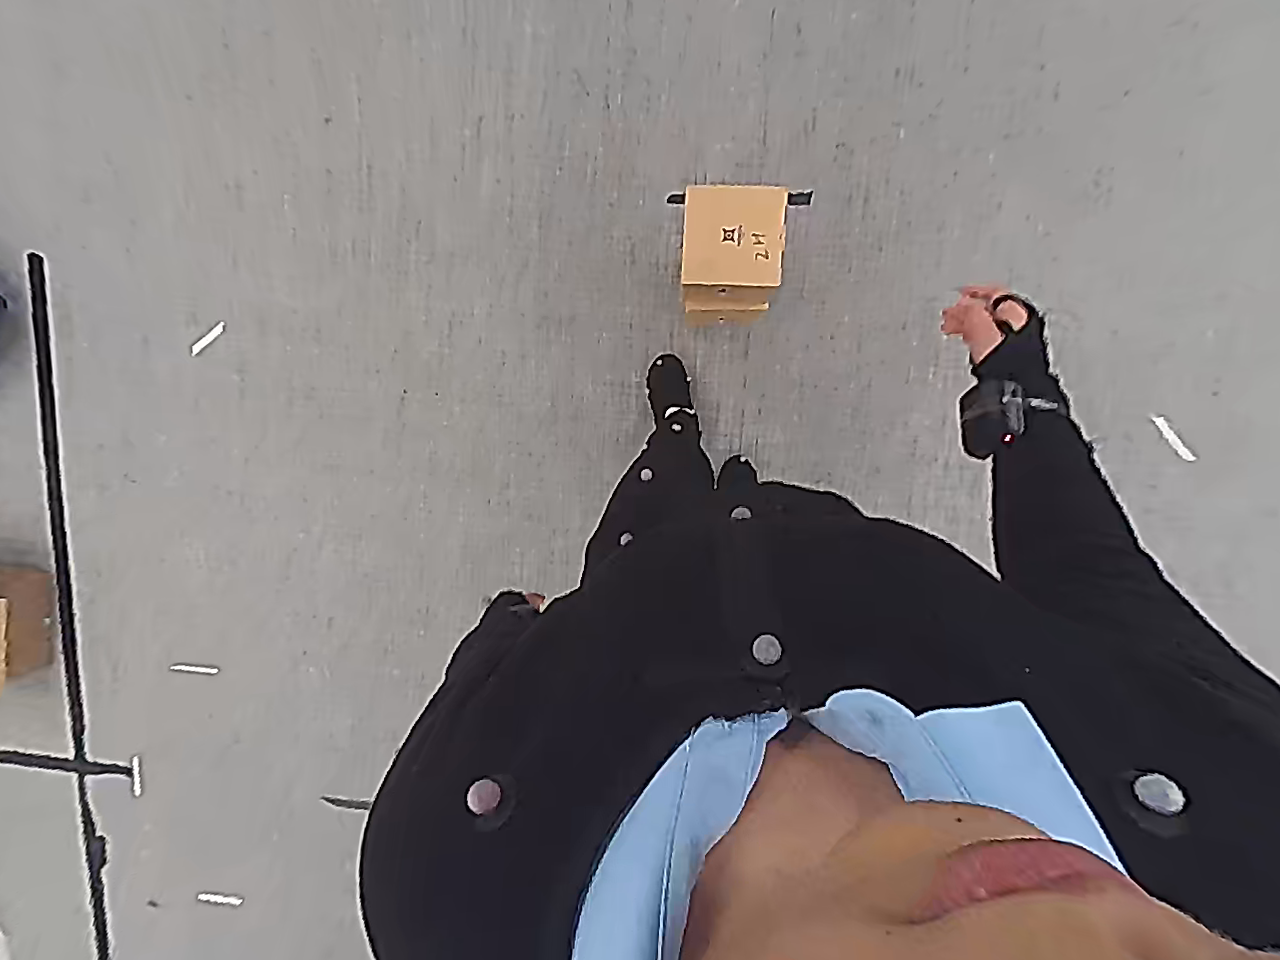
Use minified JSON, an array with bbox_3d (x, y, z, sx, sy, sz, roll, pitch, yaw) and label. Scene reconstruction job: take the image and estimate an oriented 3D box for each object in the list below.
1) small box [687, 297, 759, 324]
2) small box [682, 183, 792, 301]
[{"bbox_3d":[0.199,-0.489,1.327,0.168,0.176,0.179,-2,98,5],"label":"small box"},{"bbox_3d":[0.171,-0.432,1.003,0.179,0.176,0.168,3,99,4],"label":"small box"}]
